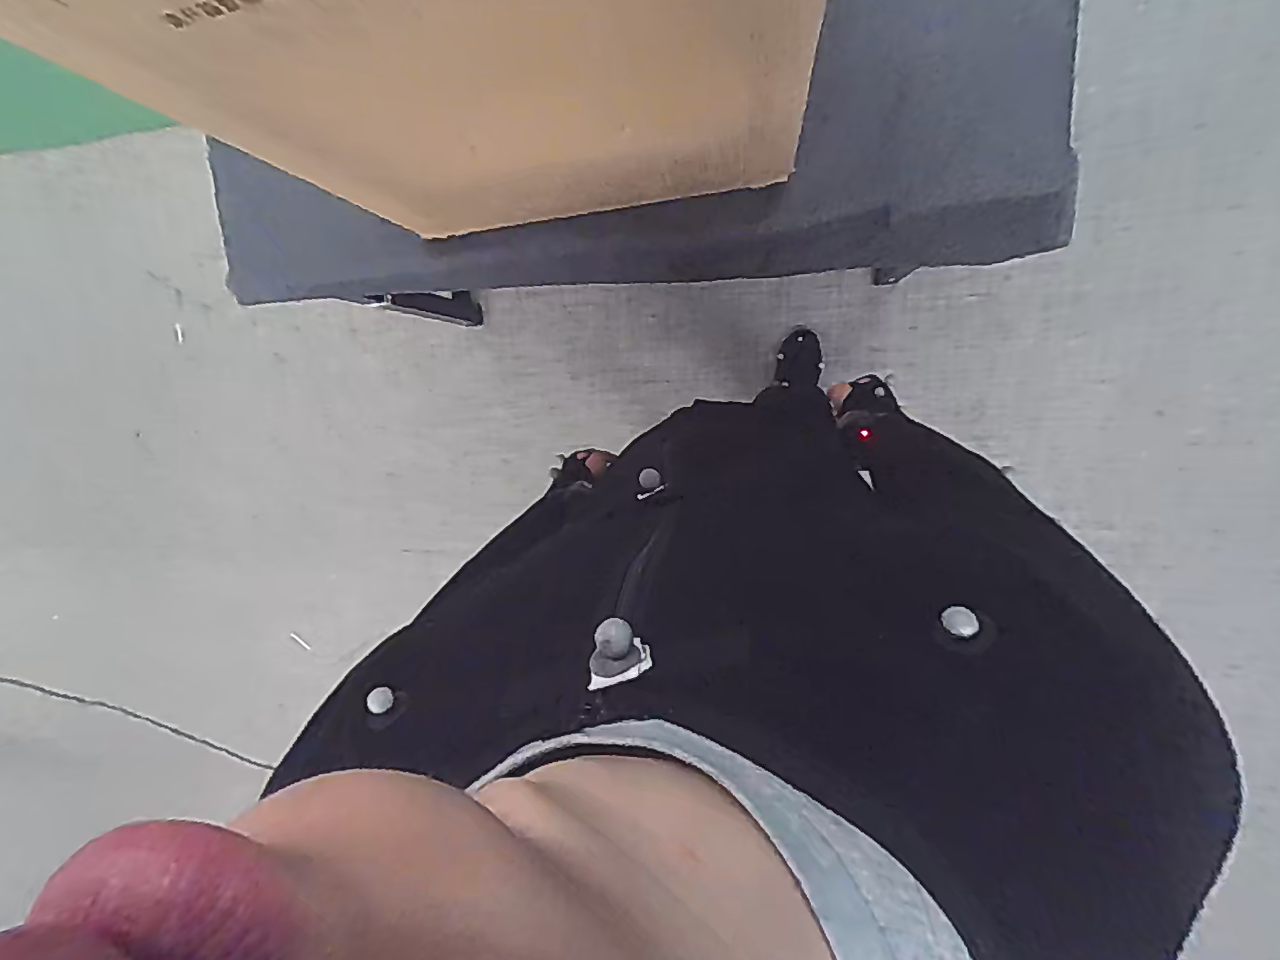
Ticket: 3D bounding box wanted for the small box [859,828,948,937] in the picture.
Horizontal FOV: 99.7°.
[{"bbox_3d":[0.750,1.146,1.554,0.179,0.176,0.168,8,100,11],"label":"small box"}]
